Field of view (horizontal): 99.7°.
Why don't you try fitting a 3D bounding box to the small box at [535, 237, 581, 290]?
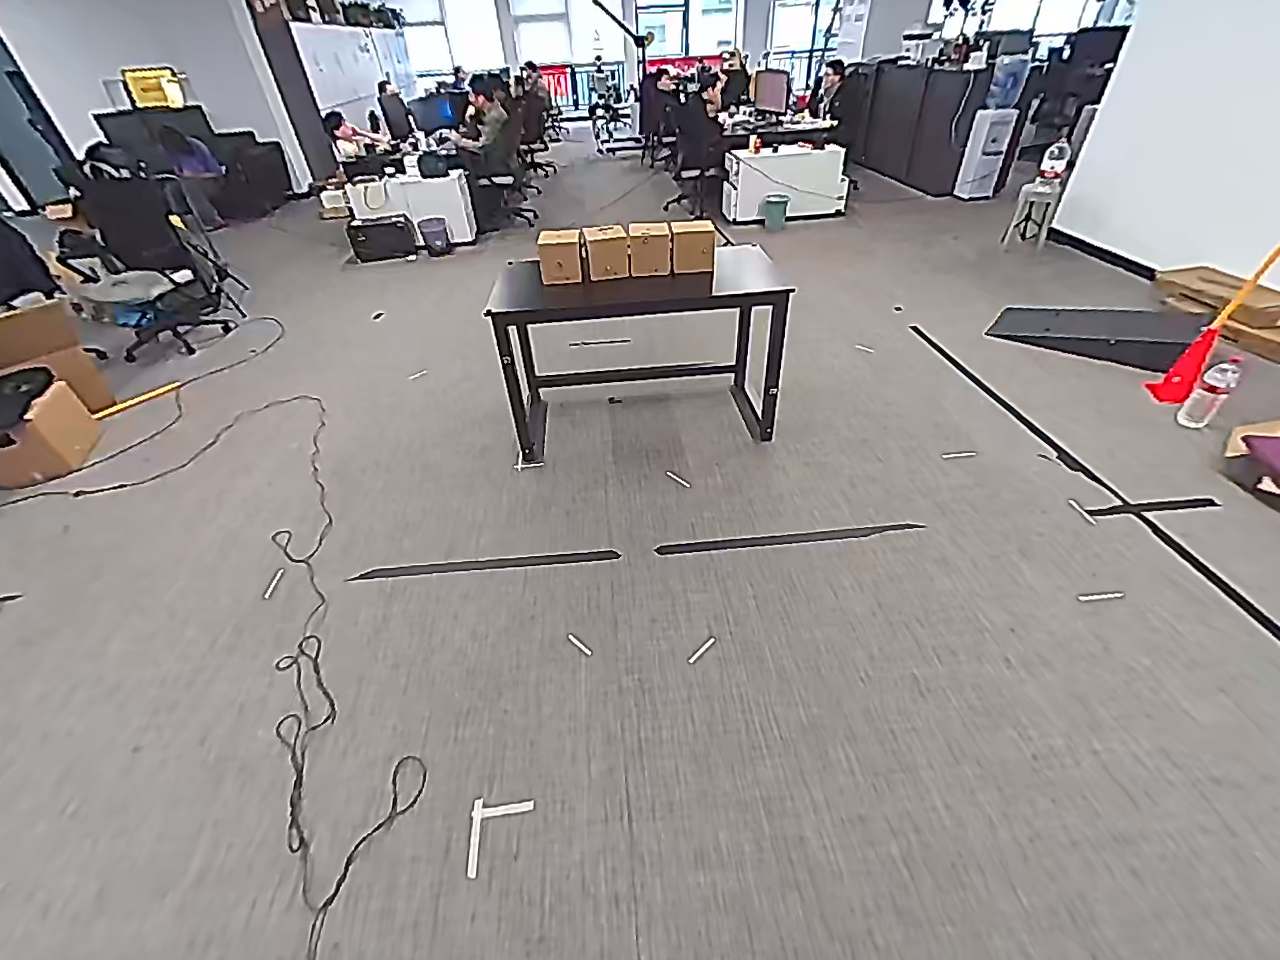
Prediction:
[{"bbox_3d":[-0.344,-0.921,2.308,0.168,0.176,0.179,-3,39,0],"label":"small box"}]
